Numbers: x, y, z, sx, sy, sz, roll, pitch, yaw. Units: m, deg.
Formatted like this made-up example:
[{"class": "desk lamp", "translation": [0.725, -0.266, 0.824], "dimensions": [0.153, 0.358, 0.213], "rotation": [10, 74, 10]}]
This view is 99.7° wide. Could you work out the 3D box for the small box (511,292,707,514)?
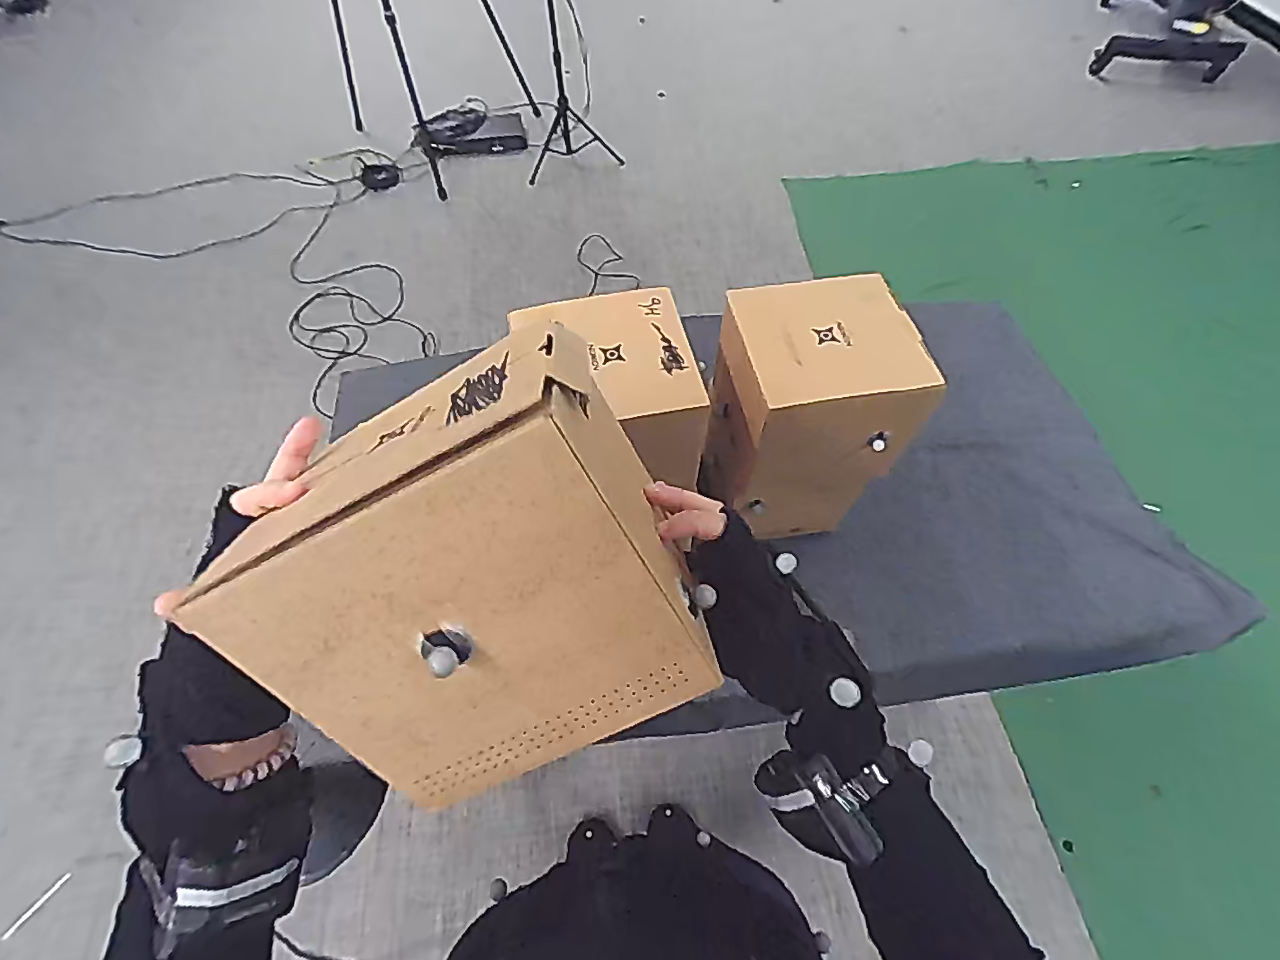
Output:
[{"class": "small box", "translation": [-0.033, -0.078, 0.607], "dimensions": [0.179, 0.176, 0.168], "rotation": [-11, 61, -5]}]
